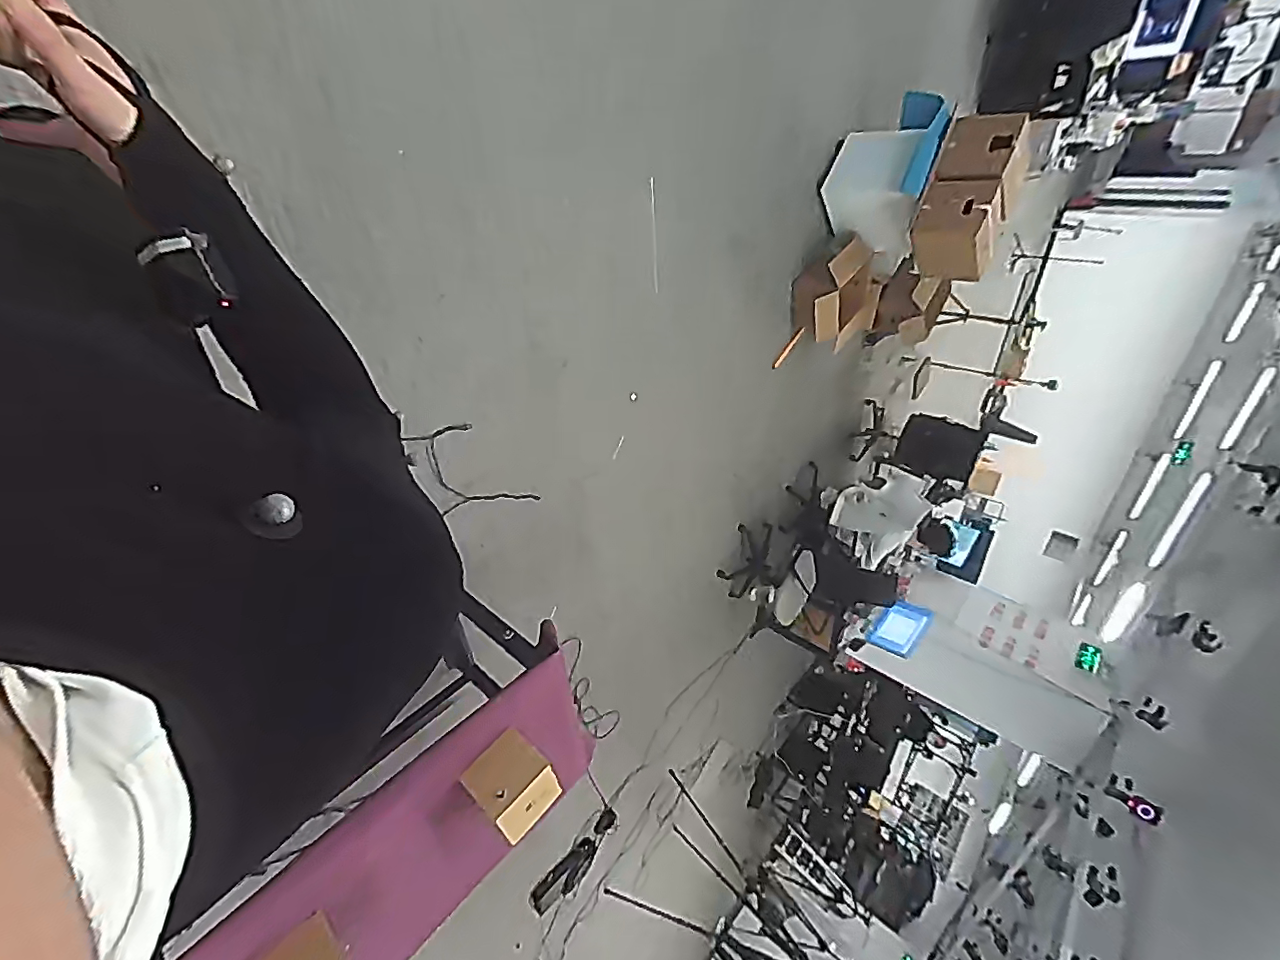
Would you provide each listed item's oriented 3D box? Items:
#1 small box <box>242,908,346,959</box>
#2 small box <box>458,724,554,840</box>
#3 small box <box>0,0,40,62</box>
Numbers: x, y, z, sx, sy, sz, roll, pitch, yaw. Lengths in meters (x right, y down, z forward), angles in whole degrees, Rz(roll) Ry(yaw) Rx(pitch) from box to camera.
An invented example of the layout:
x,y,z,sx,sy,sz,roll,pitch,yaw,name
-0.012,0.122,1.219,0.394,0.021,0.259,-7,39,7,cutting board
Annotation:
x,y,z,sx,sy,sz,roll,pitch,yaw,name
-0.722,1.059,1.127,0.179,0.176,0.168,-24,128,-44,small box
-0.361,0.801,1.445,0.179,0.176,0.168,-39,138,-34,small box
-0.487,-0.376,0.309,0.179,0.176,0.168,3,114,-42,small box
